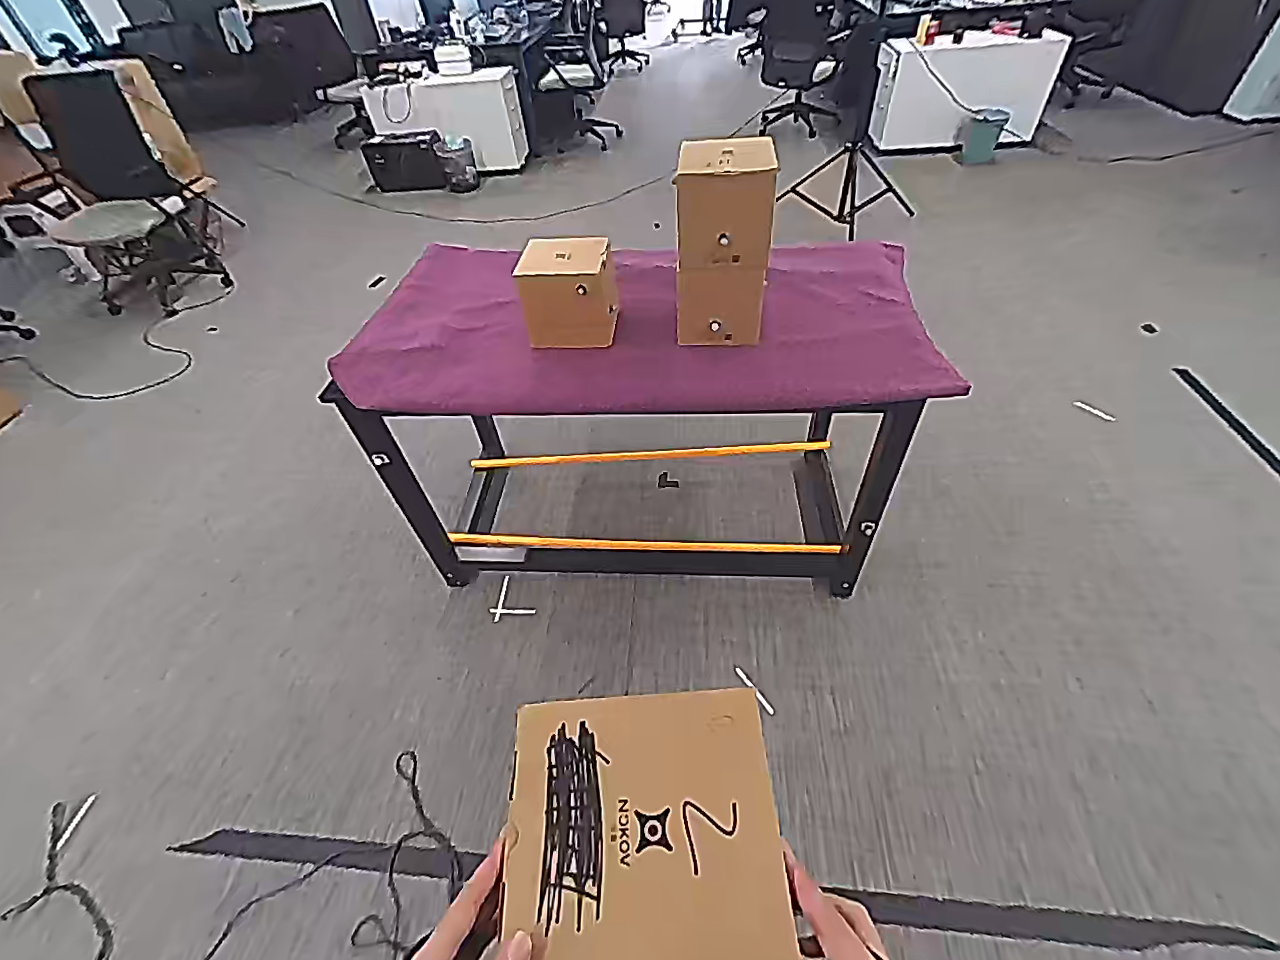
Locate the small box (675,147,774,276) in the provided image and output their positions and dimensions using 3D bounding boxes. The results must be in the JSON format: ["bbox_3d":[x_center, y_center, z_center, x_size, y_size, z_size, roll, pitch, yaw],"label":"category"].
[{"bbox_3d":[0.153,-0.499,1.008,0.168,0.176,0.179,1,47,7],"label":"small box"}]

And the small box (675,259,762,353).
[{"bbox_3d":[0.160,-0.386,1.128,0.168,0.176,0.179,1,47,7],"label":"small box"}]

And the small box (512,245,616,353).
[{"bbox_3d":[-0.153,-0.385,1.158,0.179,0.176,0.168,1,46,5],"label":"small box"}]
